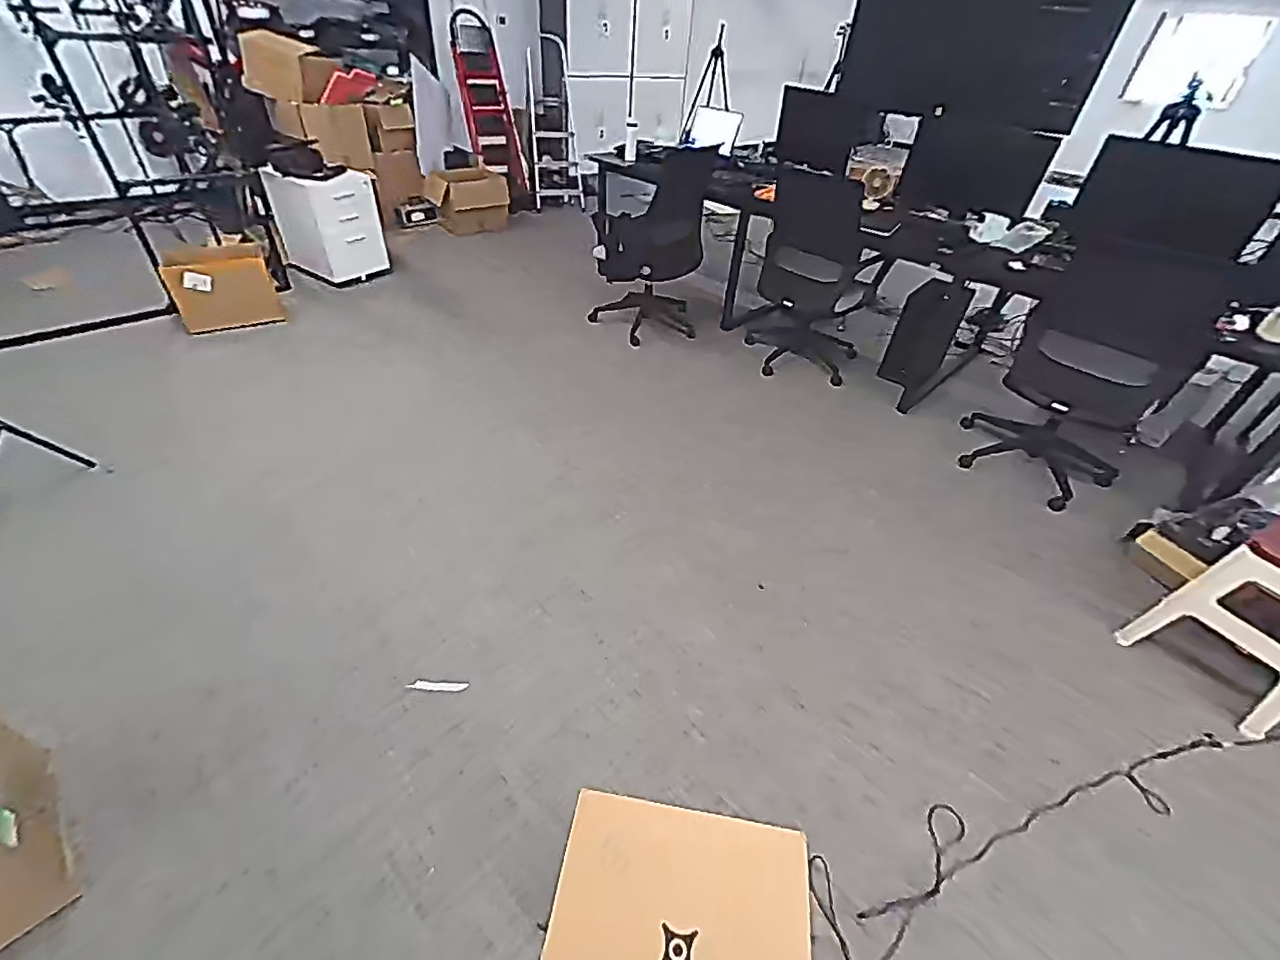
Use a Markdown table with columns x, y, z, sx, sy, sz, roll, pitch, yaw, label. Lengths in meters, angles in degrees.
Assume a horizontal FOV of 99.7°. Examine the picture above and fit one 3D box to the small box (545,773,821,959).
| x | y | z | sx | sy | sz | roll | pitch | yaw | label |
| --- | --- | --- | --- | --- | --- | --- | --- | --- | --- |
| 0.028 | 0.342 | 0.382 | 0.168 | 0.176 | 0.179 | 6 | 45 | 9 | small box |
